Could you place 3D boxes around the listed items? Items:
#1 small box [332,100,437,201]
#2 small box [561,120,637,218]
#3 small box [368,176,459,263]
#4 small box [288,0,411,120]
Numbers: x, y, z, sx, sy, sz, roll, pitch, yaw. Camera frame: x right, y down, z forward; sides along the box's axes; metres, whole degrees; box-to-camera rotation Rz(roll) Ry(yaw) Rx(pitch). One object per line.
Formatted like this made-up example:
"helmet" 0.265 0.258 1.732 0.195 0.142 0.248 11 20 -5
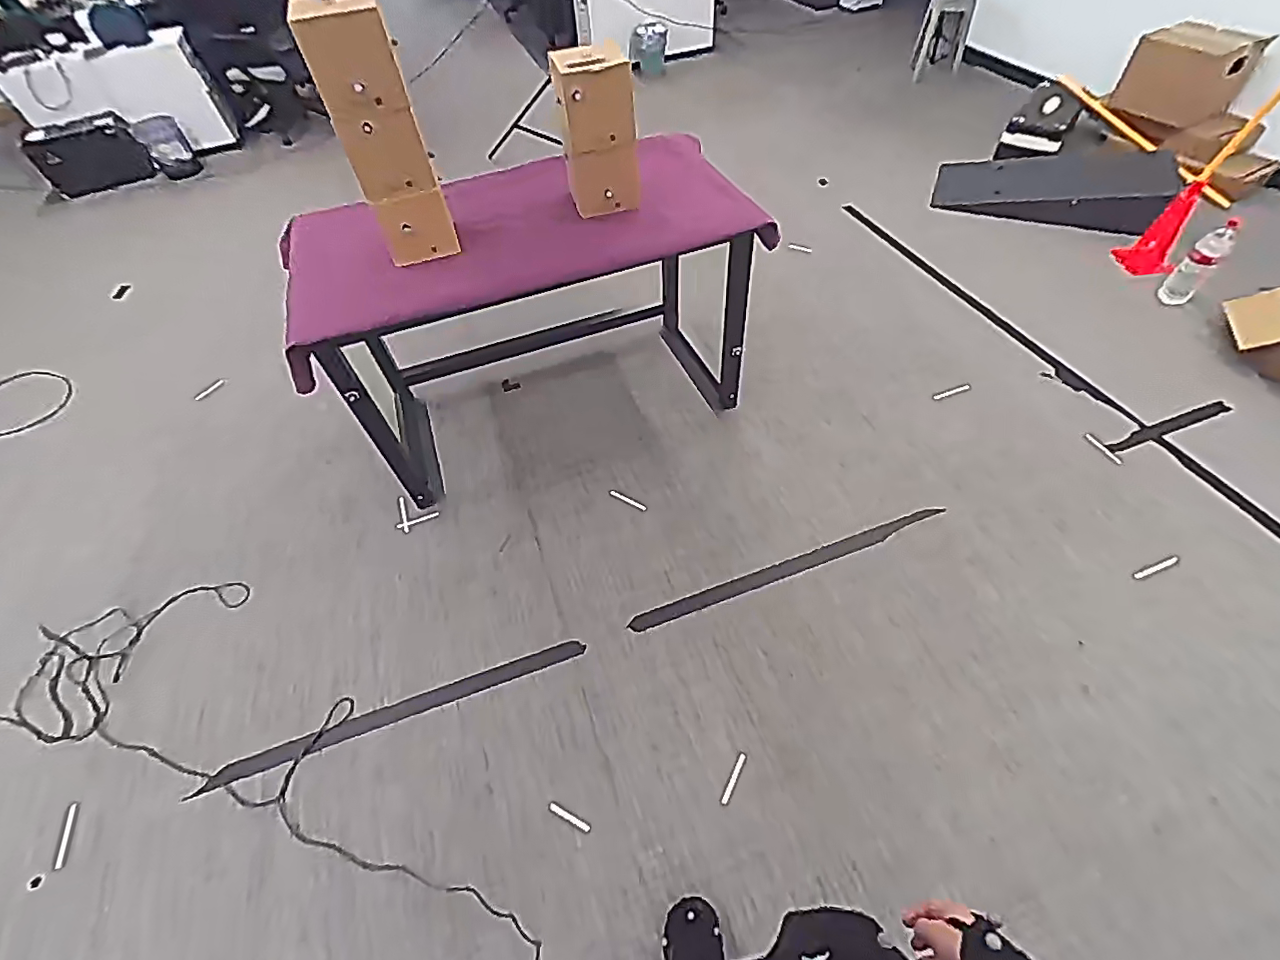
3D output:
"small box" -0.587 -0.777 1.251 0.168 0.176 0.179 -18 53 -9
"small box" -0.110 -0.843 1.468 0.168 0.176 0.179 -15 53 -6
"small box" -0.575 -0.673 1.377 0.168 0.176 0.179 -18 53 -9
"small box" -0.592 -0.876 1.119 0.168 0.176 0.179 -18 54 -9
